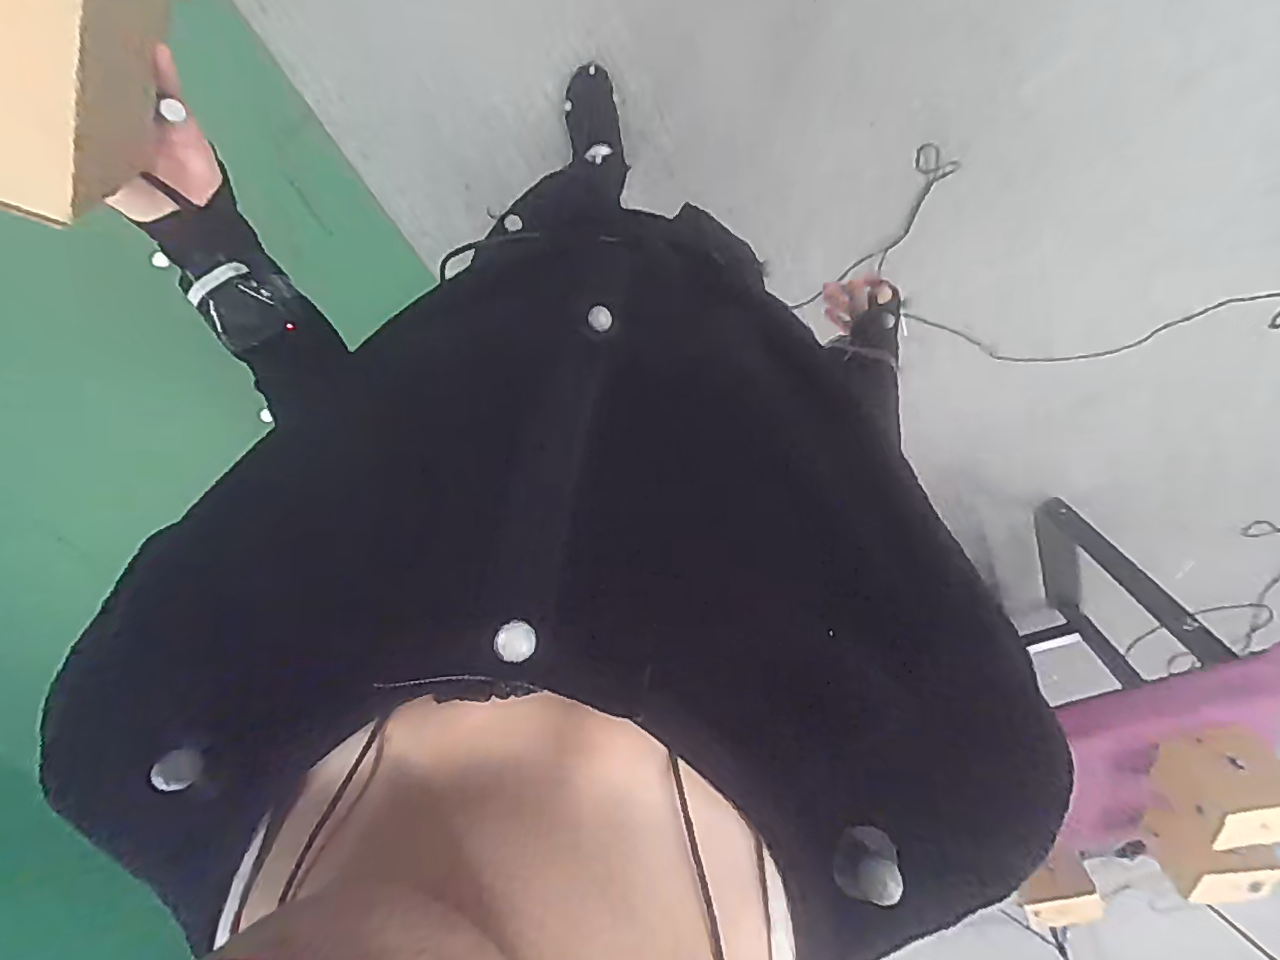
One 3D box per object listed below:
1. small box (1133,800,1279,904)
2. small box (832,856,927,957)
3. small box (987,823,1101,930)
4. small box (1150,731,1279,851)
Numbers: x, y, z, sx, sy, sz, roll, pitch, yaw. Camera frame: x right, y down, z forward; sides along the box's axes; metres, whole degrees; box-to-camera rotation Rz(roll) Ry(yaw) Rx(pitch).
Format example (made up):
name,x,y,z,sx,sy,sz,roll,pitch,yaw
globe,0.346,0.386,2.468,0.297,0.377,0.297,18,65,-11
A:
name,x,y,z,sx,sy,sz,roll,pitch,yaw
small box,1.404,0.920,1.351,0.179,0.176,0.168,-13,121,9
small box,0.670,1.199,1.523,0.168,0.176,0.179,-29,118,15
small box,1.062,1.042,1.428,0.179,0.176,0.168,-25,118,14
small box,1.282,0.673,1.188,0.168,0.176,0.179,-17,122,11
